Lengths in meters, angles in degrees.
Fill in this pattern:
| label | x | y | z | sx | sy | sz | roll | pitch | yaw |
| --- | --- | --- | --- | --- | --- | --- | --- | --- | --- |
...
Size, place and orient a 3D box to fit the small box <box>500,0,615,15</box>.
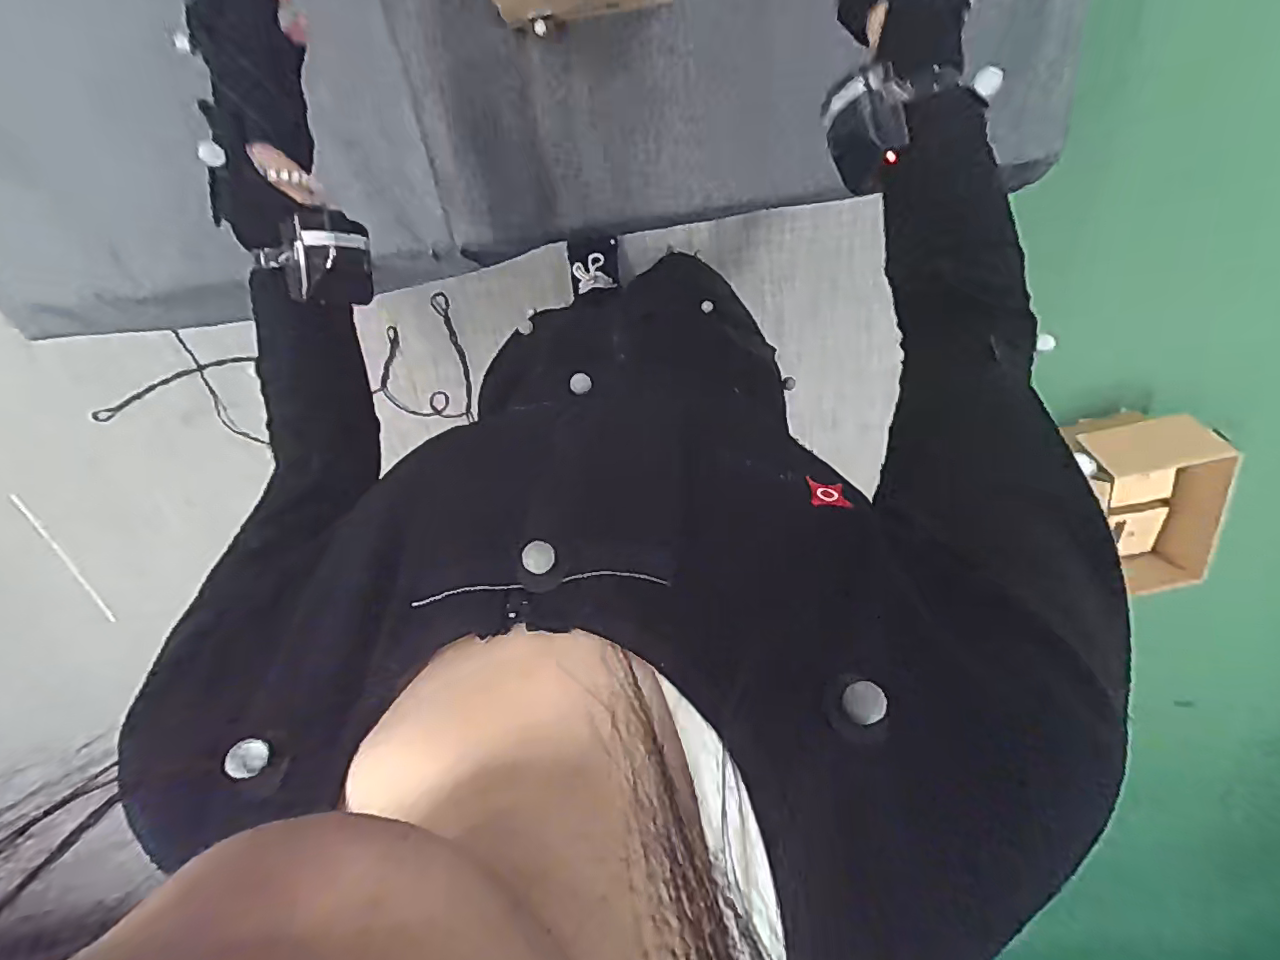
| label | x | y | z | sx | sy | sz | roll | pitch | yaw |
| --- | --- | --- | --- | --- | --- | --- | --- | --- | --- |
| small box | -0.059 | -0.499 | 0.420 | 0.168 | 0.176 | 0.179 | -9 | 117 | 2 |
